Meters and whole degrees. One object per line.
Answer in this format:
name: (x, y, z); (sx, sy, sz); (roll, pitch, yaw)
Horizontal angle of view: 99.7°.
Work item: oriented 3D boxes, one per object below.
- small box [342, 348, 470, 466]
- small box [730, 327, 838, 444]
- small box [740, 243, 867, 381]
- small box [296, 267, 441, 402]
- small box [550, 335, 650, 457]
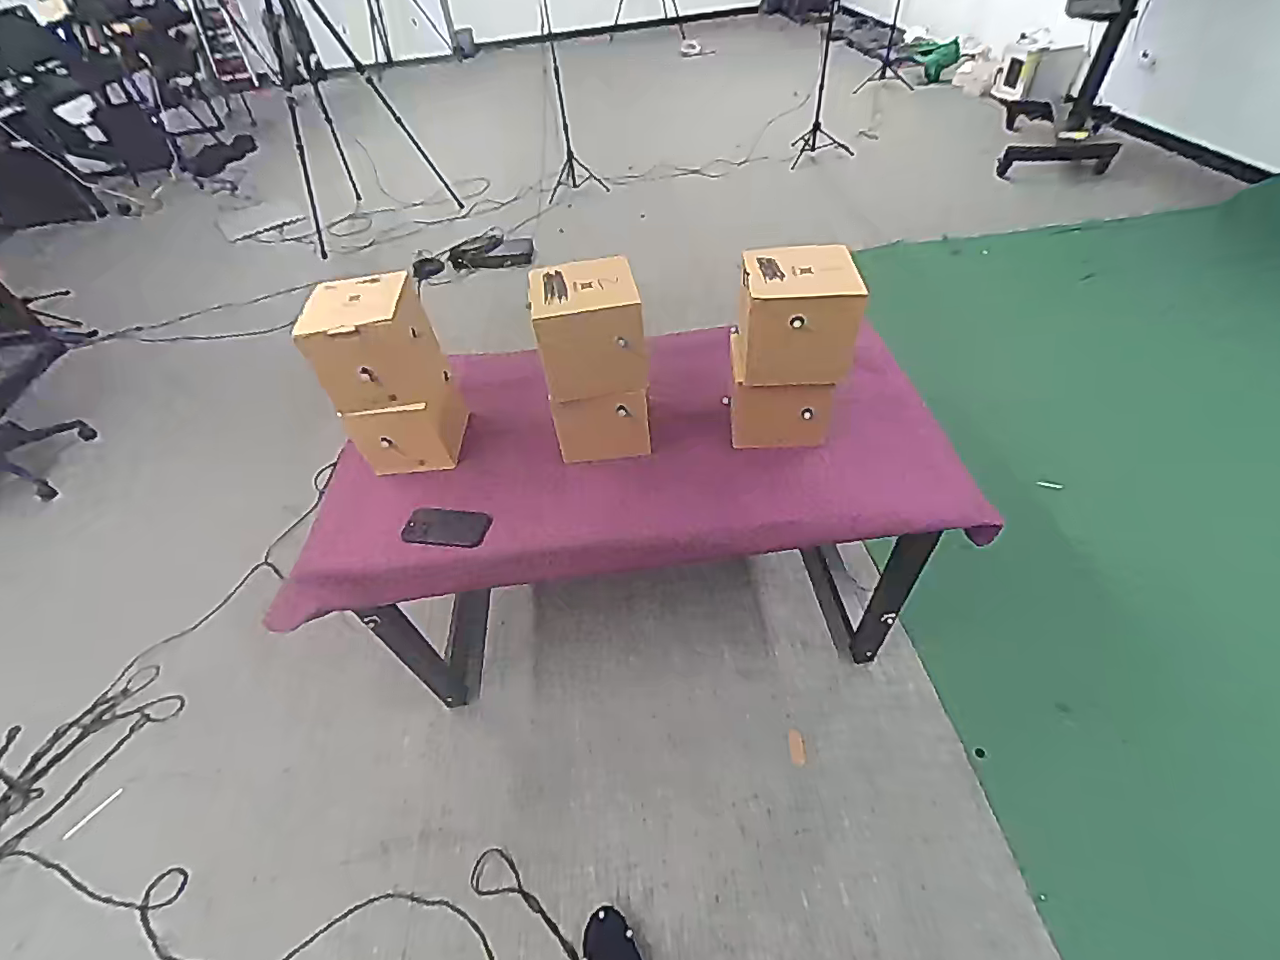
small box: (-0.461, -0.141, 1.097); (0.168, 0.176, 0.179); (-5, 48, 2)
small box: (0.269, -0.184, 1.053); (0.179, 0.176, 0.168); (-1, 48, 7)
small box: (0.264, -0.282, 0.921); (0.179, 0.176, 0.168); (-1, 48, 5)
small box: (-0.475, -0.256, 0.981); (0.168, 0.176, 0.179); (-8, 49, -2)
small box: (-0.071, -0.163, 1.071); (0.179, 0.176, 0.168); (-6, 48, 2)
